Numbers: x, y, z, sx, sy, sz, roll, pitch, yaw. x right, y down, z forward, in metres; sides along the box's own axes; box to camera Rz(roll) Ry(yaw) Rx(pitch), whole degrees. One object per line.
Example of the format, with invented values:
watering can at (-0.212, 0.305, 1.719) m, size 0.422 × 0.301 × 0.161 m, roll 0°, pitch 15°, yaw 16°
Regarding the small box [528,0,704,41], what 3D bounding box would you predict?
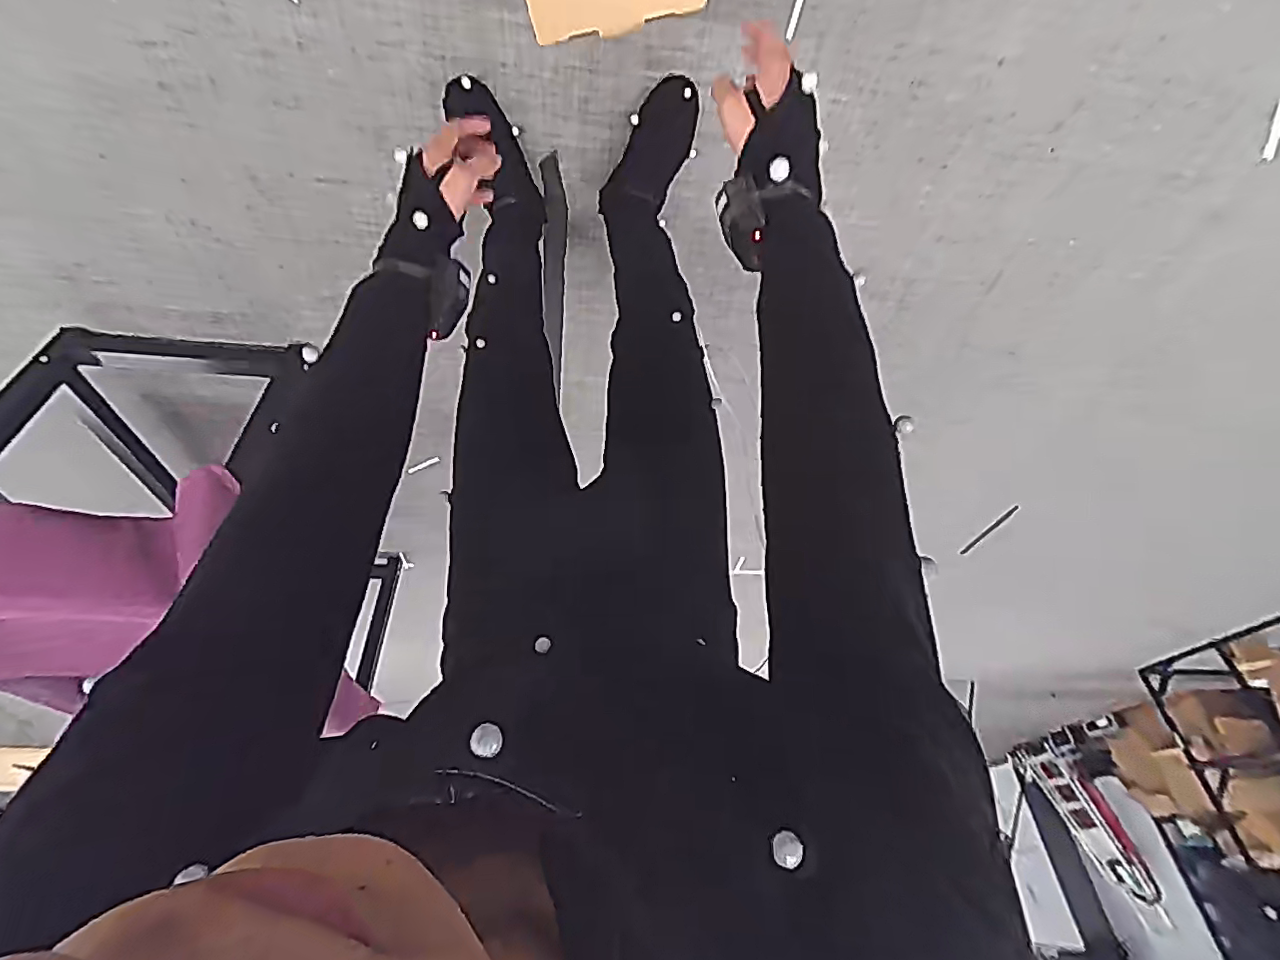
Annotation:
small box at (-0.035, -0.547, 0.490) m, size 0.168 × 0.176 × 0.179 m, roll -8°, pitch 144°, yaw 6°
